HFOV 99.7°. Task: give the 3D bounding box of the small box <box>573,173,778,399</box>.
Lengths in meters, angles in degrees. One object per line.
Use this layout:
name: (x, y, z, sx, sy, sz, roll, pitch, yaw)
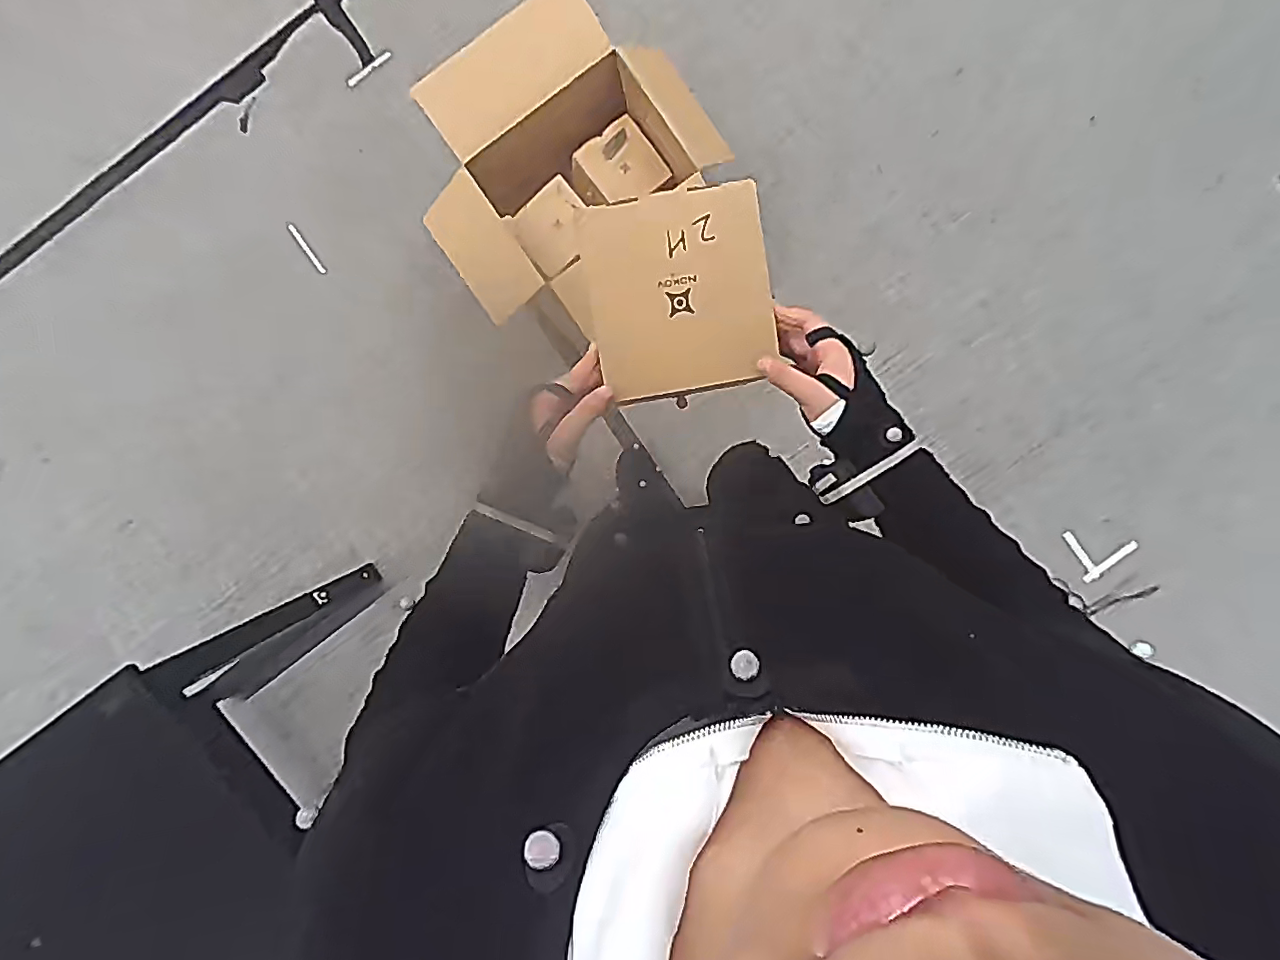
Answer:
small box: (0.033, -0.183, 0.565, 0.168, 0.176, 0.179, -10, 96, 0)
